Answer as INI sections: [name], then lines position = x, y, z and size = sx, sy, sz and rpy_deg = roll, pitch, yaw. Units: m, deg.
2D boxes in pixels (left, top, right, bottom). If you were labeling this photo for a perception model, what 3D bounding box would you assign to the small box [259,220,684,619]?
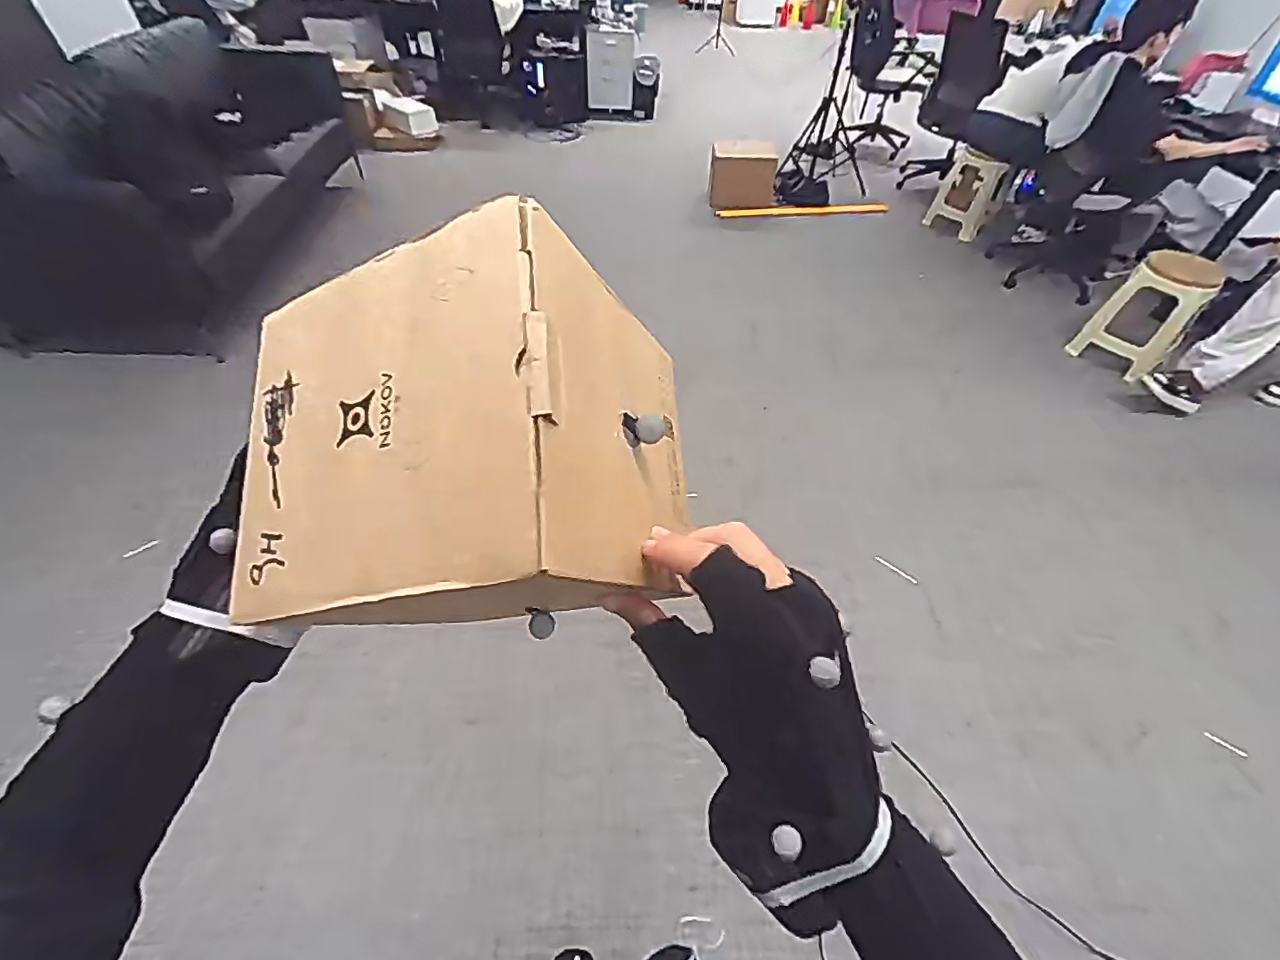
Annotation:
[small box]
position = -0.080, -0.009, 0.325
size = 0.179, 0.176, 0.168
rpy_deg = -12, 71, 21
